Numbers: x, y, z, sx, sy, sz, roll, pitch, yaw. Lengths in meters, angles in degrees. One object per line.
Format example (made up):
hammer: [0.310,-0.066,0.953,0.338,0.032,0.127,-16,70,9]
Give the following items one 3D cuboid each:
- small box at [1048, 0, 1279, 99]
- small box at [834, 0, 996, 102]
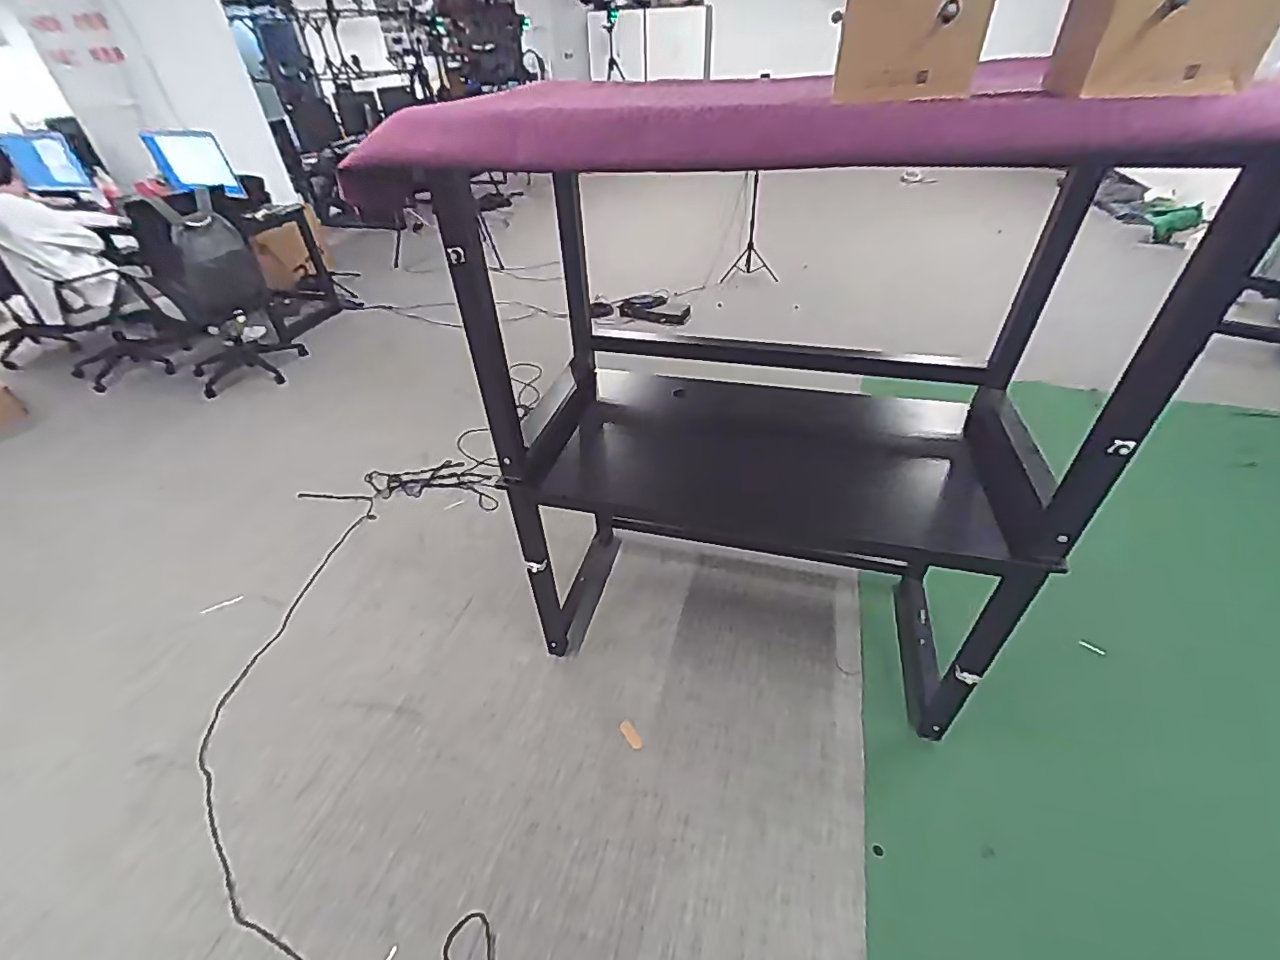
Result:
small box: [0.627,-0.557,0.639,0.168,0.176,0.179,8,40,14]
small box: [0.358,-0.602,0.710,0.168,0.176,0.179,9,39,13]
